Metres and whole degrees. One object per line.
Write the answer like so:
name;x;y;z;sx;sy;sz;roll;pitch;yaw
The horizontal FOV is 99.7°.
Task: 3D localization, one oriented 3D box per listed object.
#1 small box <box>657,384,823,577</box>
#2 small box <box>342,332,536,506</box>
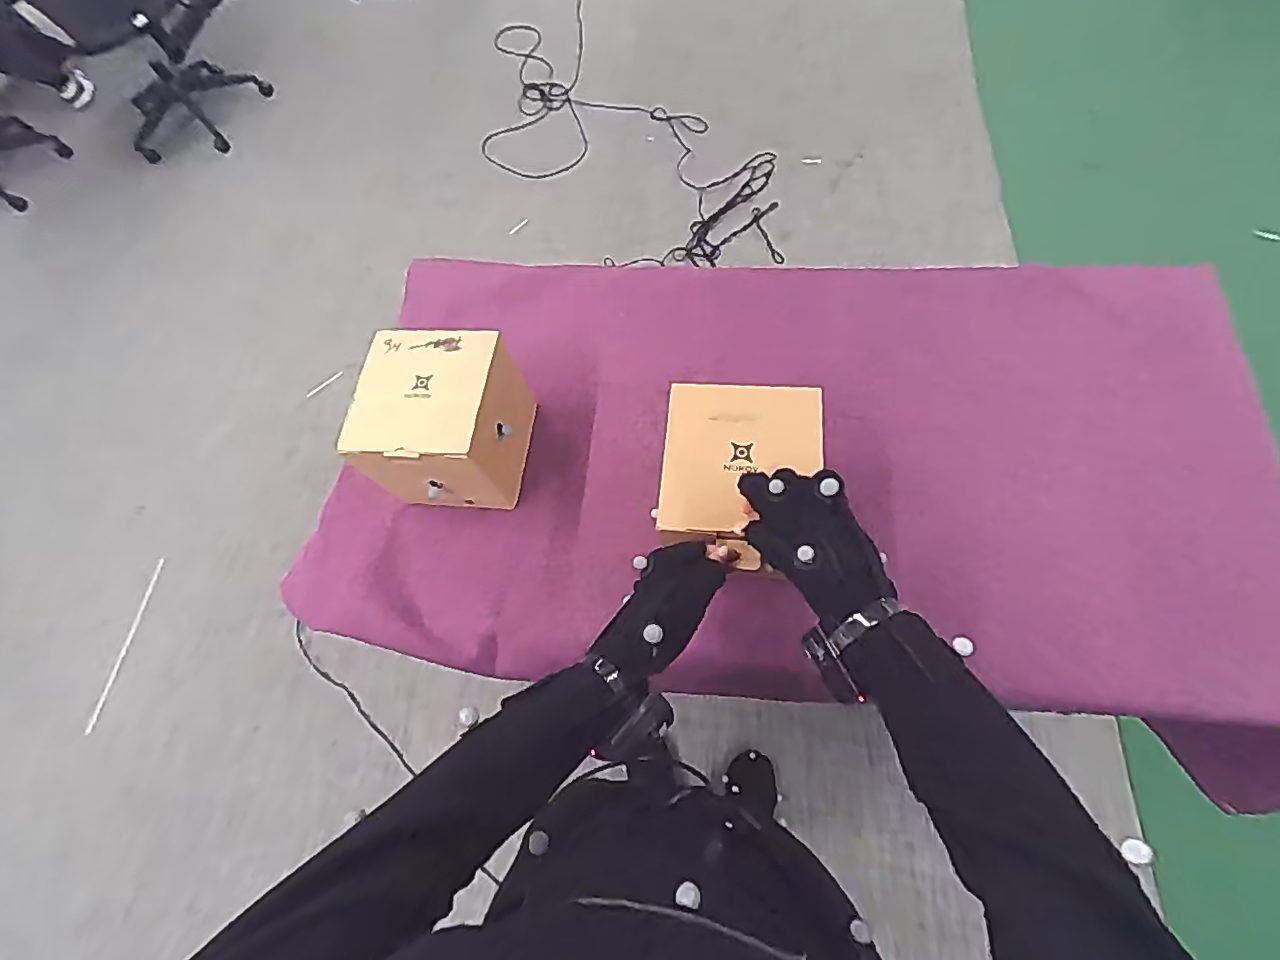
small box;0.117;0.008;0.636;0.168;0.176;0.179;4;66;9
small box;-0.249;-0.074;0.719;0.168;0.176;0.179;3;67;8
